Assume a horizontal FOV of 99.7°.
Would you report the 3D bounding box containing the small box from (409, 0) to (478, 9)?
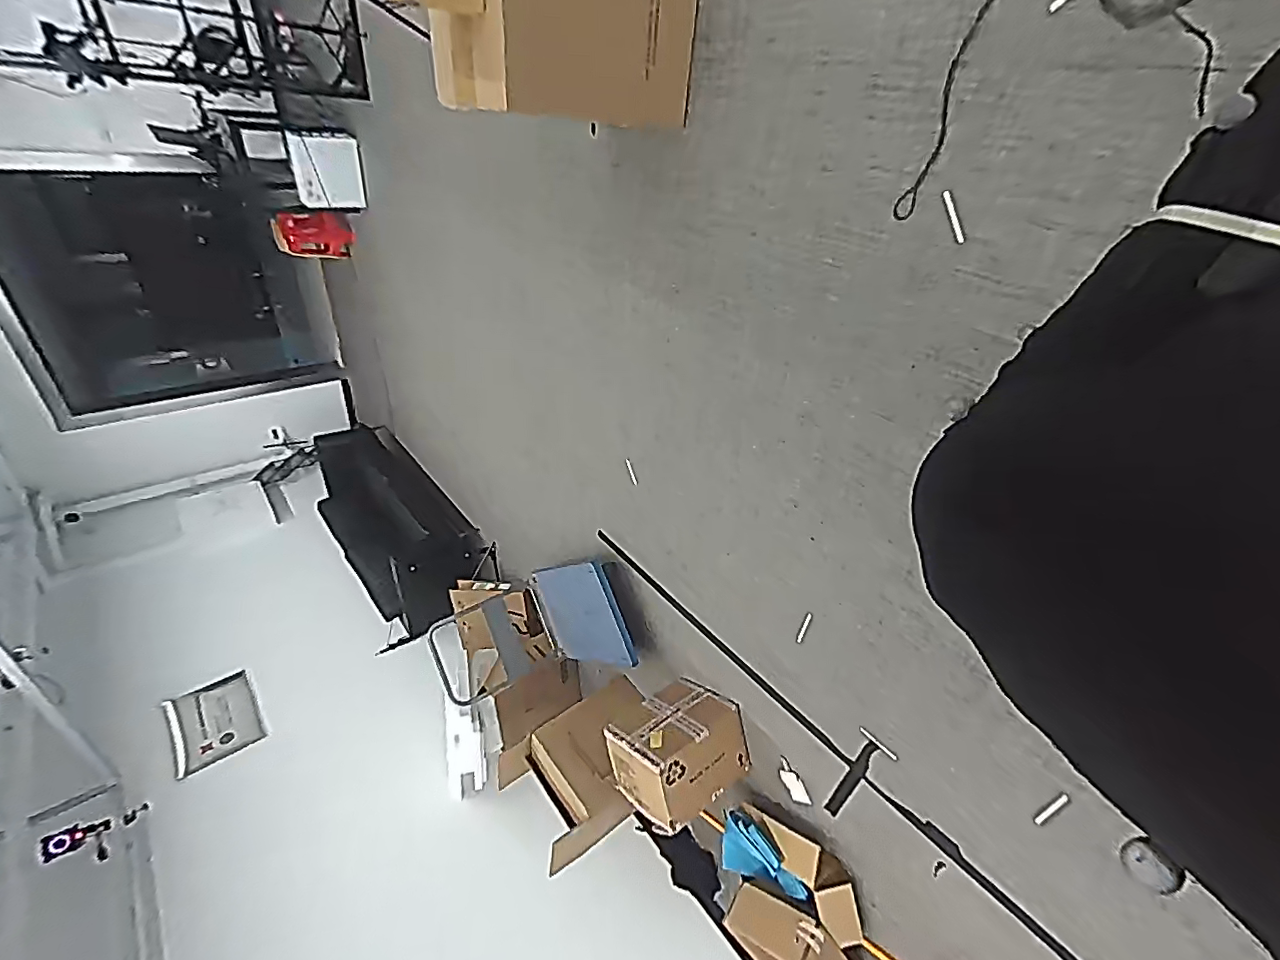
[{"bbox_3d":[-0.472,-1.187,1.219,0.179,0.176,0.168,38,136,36],"label":"small box"}]
